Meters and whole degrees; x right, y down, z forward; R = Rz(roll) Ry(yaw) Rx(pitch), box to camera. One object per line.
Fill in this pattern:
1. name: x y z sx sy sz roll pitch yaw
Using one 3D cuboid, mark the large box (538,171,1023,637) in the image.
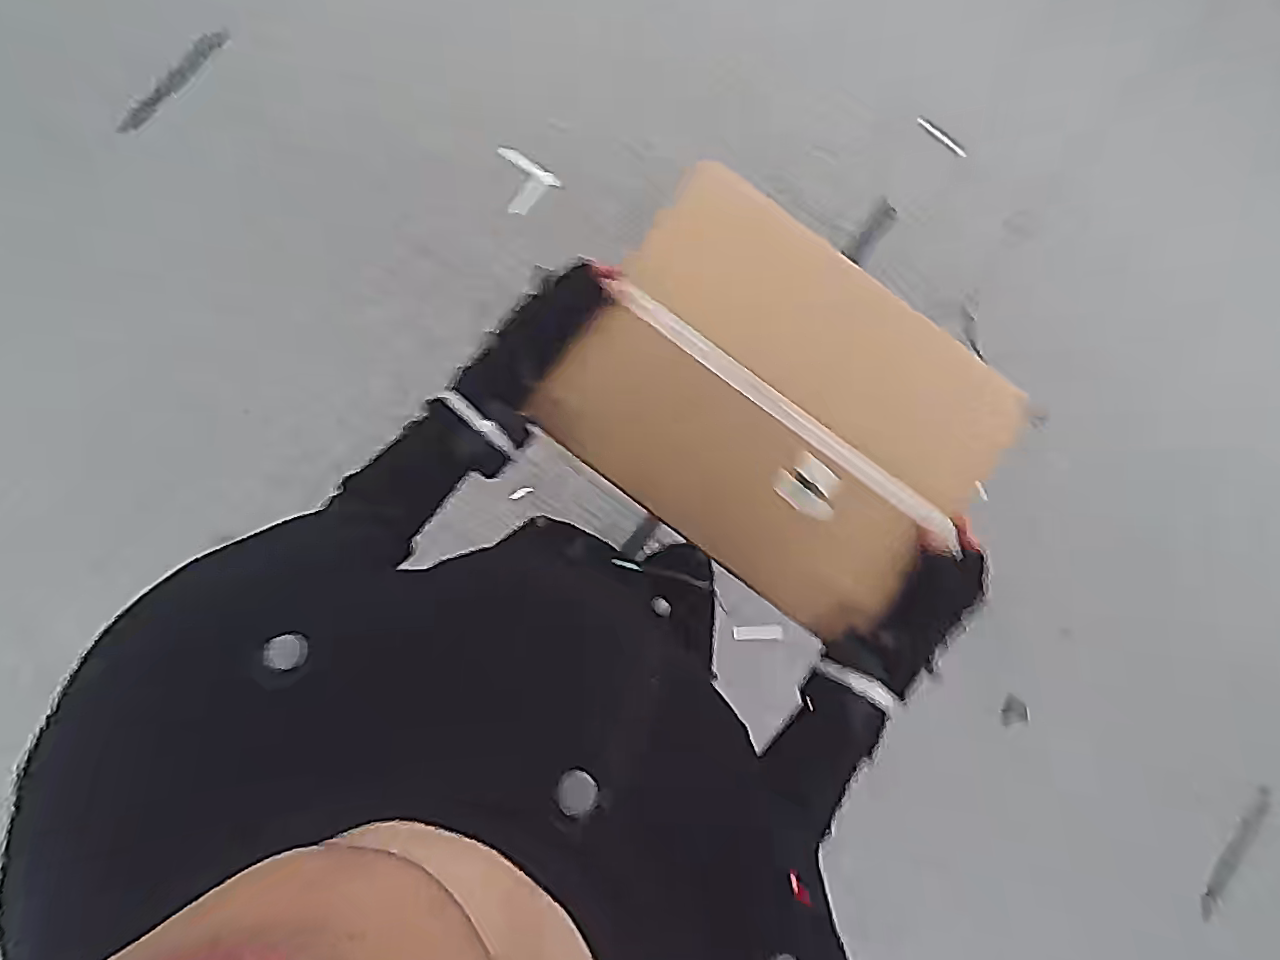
1. large box: 0.138 -0.076 0.691 0.408 0.320 0.320 37 90 -1
